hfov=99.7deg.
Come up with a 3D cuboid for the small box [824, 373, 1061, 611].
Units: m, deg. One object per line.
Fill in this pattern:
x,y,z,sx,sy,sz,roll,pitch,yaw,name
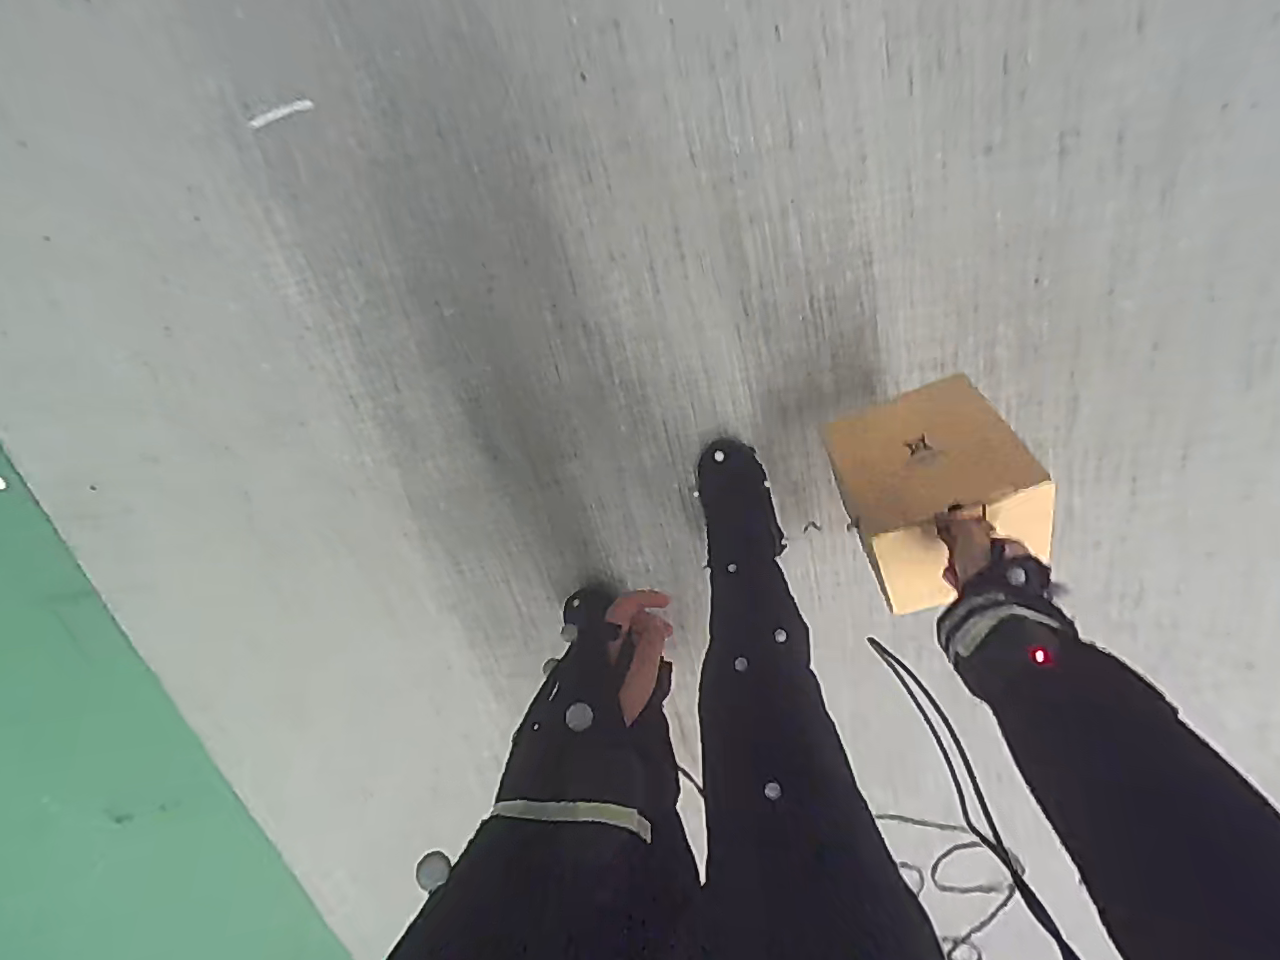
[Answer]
0.324,0.018,0.607,0.168,0.179,0.176,-20,135,15,small box
